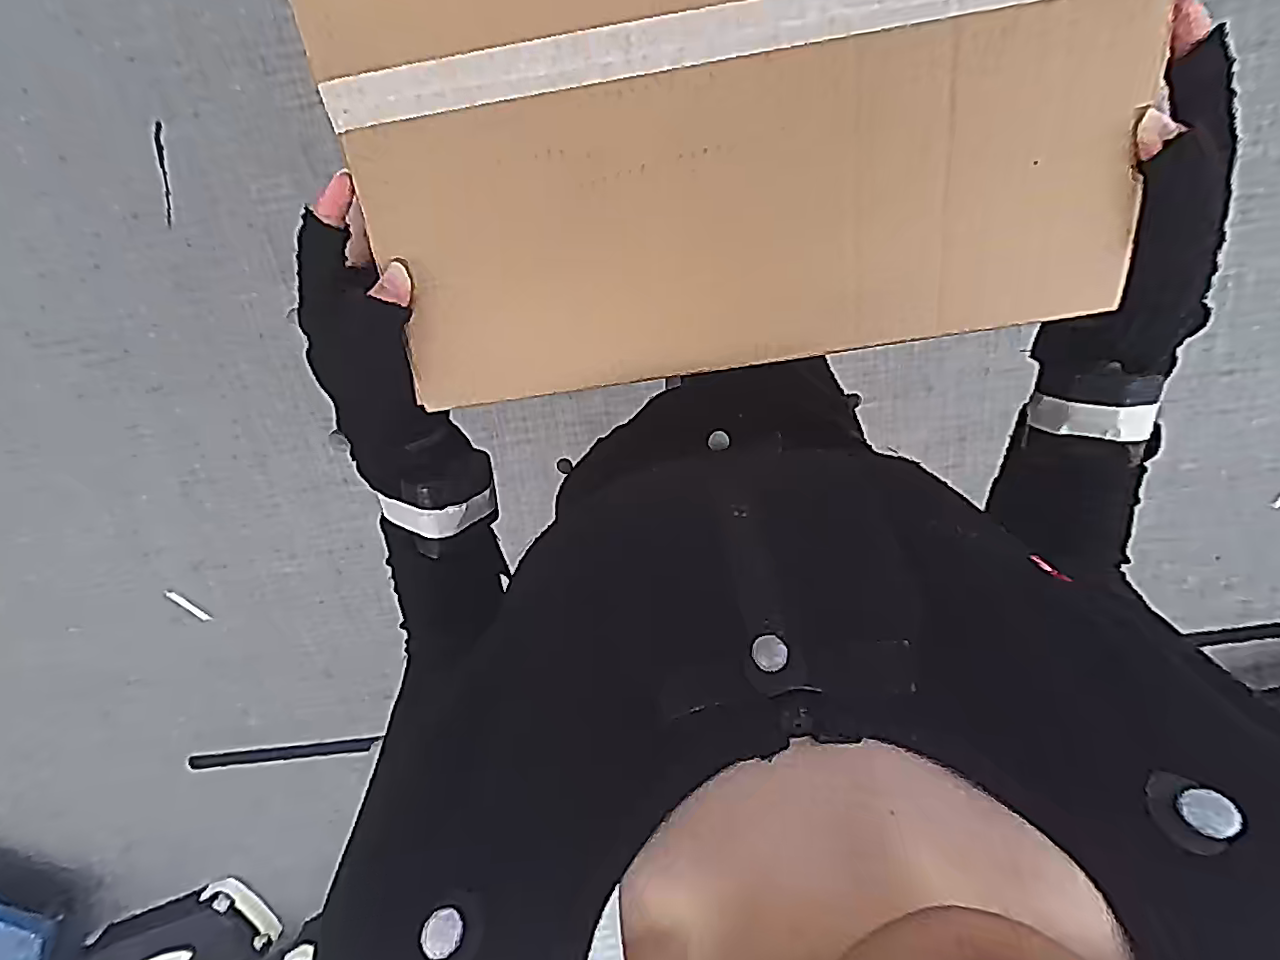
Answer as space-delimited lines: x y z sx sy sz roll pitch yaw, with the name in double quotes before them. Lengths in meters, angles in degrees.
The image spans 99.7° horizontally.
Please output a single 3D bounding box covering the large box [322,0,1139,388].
"large box" 0.043 -0.279 0.408 0.408 0.320 0.320 -8 112 3
